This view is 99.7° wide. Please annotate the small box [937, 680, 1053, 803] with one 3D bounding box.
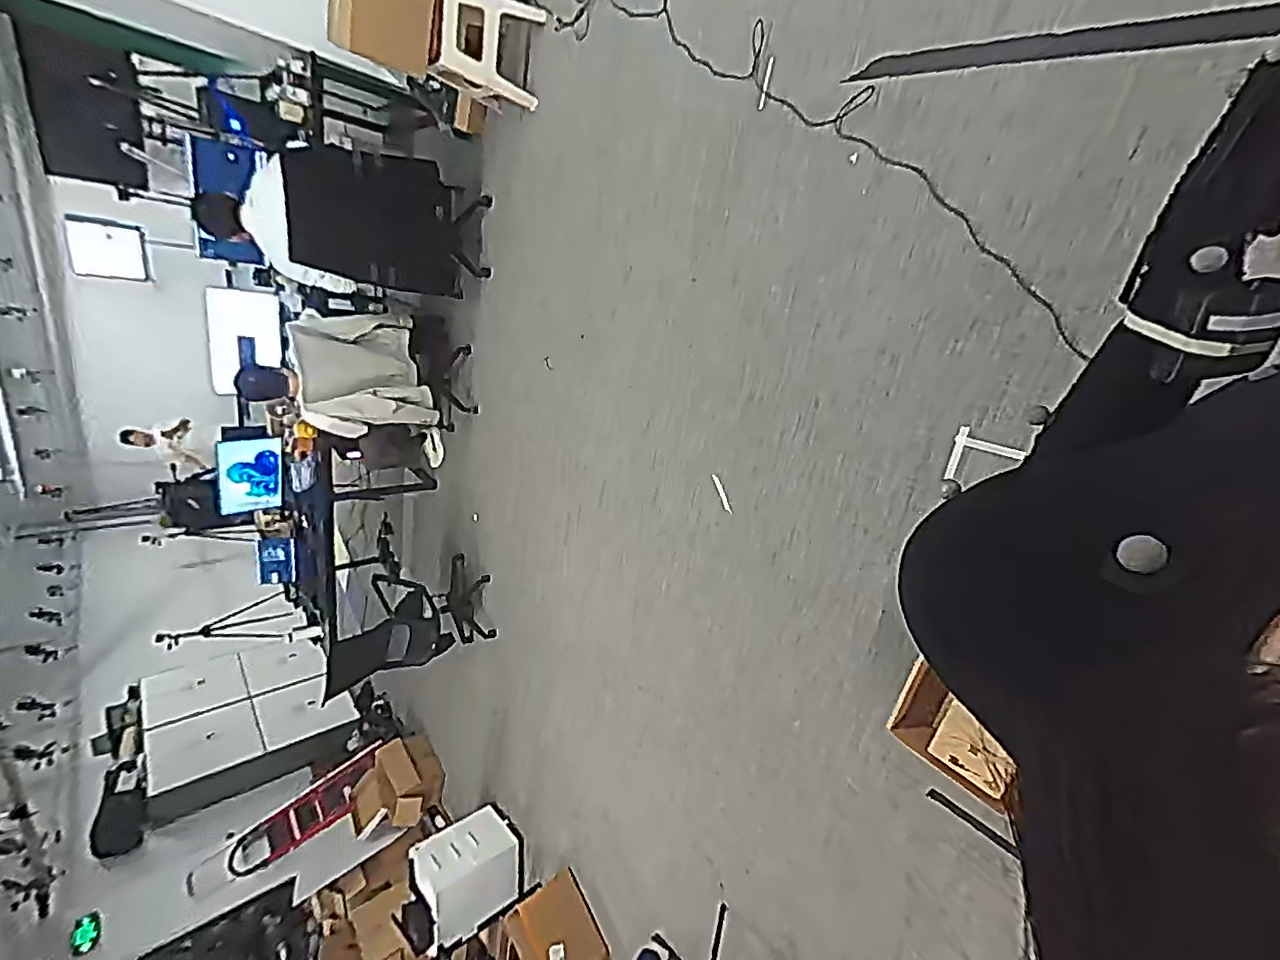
[{"bbox_3d":[0.852,0.613,1.294,0.168,0.176,0.179,31,117,40],"label":"small box"}]
